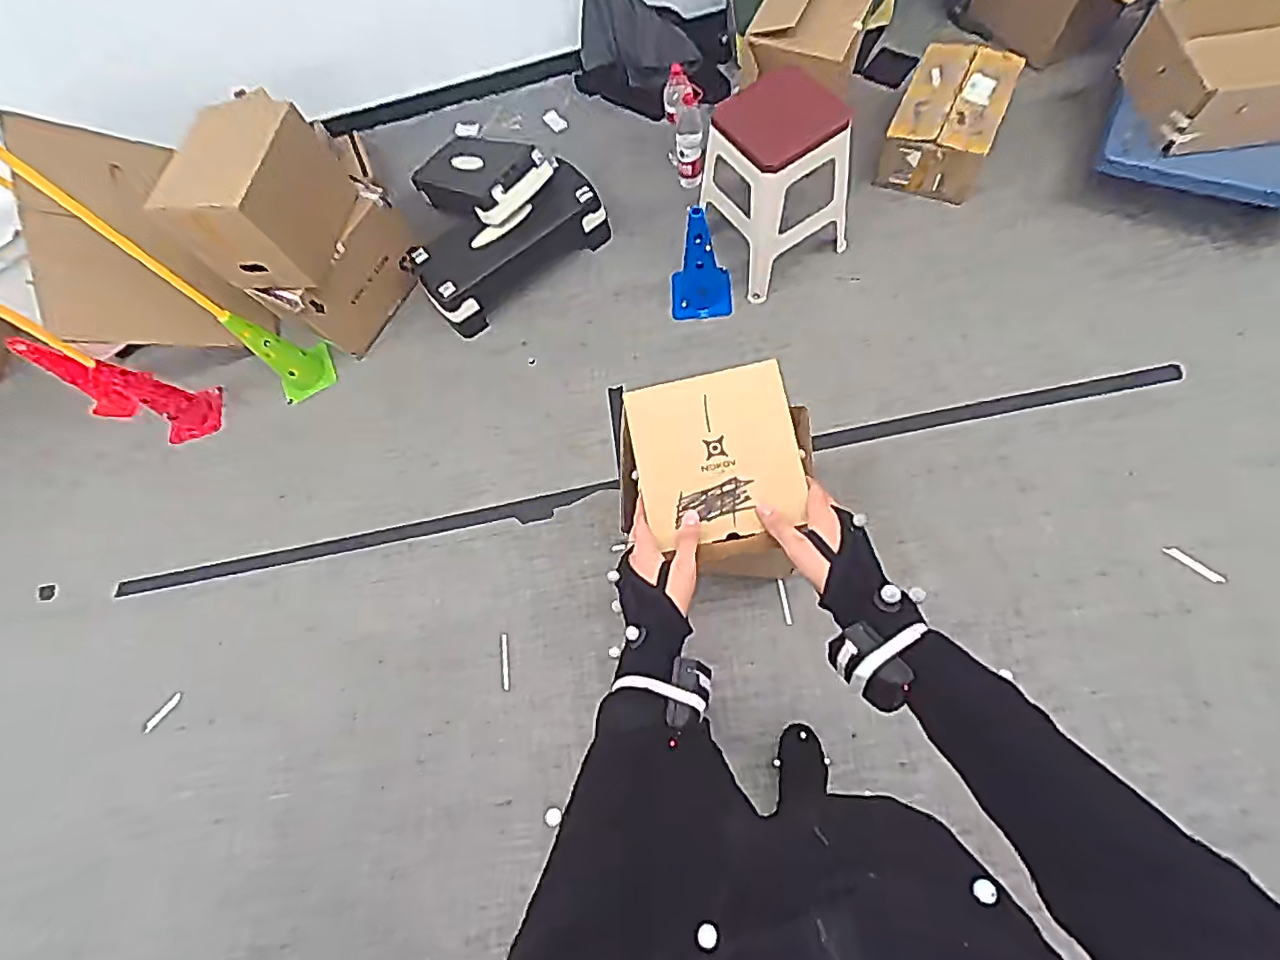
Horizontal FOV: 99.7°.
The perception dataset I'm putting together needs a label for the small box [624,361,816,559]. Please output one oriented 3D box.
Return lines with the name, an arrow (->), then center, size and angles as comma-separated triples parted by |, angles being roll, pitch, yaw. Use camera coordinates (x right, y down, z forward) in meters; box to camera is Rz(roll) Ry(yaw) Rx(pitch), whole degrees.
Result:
small box -> 0.088, -0.012, 0.618 | 0.168, 0.176, 0.179 | -12, 81, 5
